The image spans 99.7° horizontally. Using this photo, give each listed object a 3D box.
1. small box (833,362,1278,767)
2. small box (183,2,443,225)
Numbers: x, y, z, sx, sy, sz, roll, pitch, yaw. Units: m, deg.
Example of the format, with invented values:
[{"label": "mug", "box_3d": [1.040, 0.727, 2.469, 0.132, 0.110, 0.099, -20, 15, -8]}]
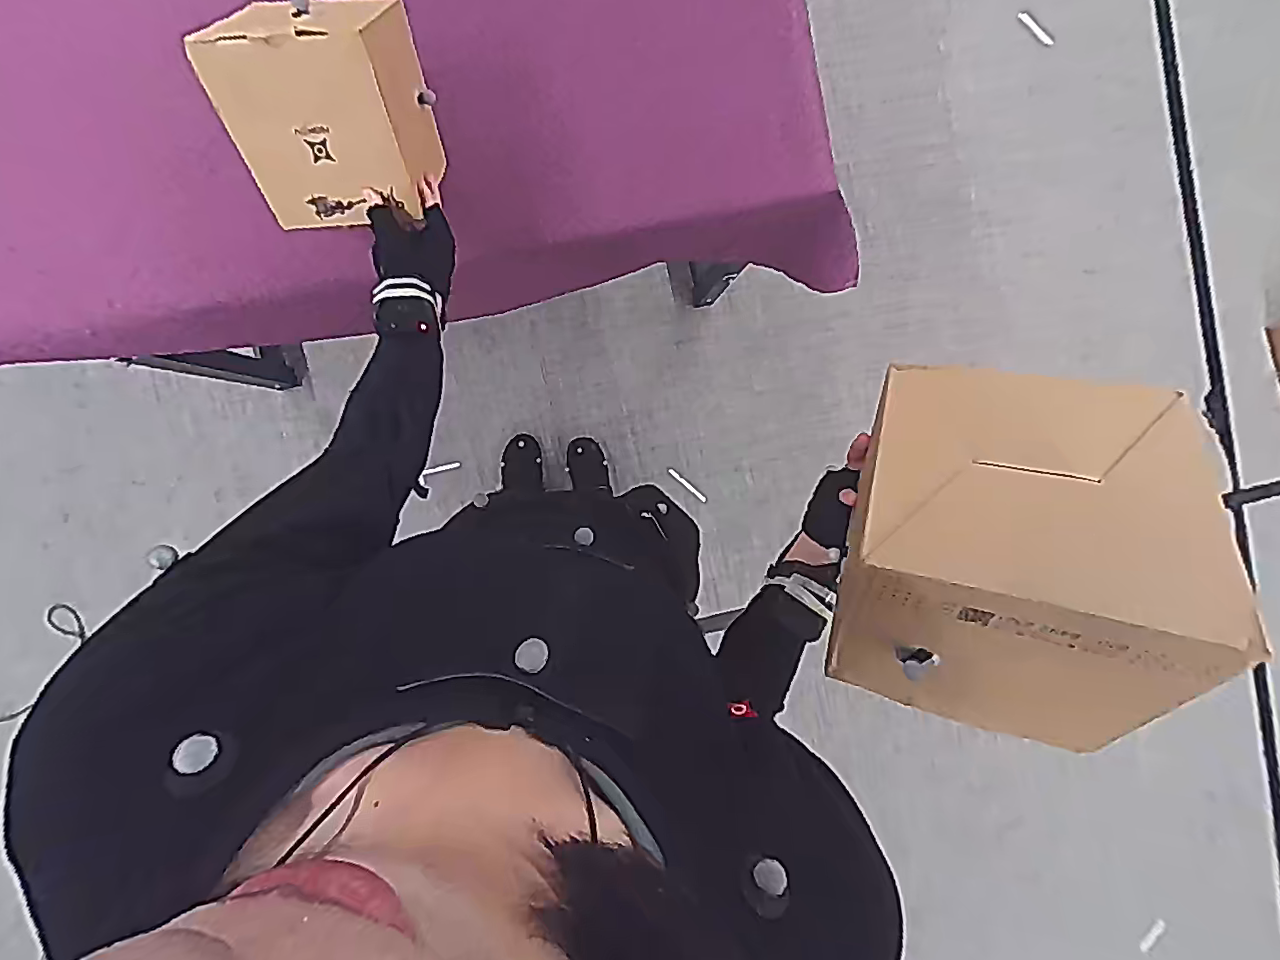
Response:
[{"label": "small box", "box_3d": [0.231, 0.048, 0.350, 0.168, 0.176, 0.179, 13, 53, 19]}, {"label": "small box", "box_3d": [-0.336, -0.410, 0.602, 0.168, 0.176, 0.179, -4, 138, -1]}]
